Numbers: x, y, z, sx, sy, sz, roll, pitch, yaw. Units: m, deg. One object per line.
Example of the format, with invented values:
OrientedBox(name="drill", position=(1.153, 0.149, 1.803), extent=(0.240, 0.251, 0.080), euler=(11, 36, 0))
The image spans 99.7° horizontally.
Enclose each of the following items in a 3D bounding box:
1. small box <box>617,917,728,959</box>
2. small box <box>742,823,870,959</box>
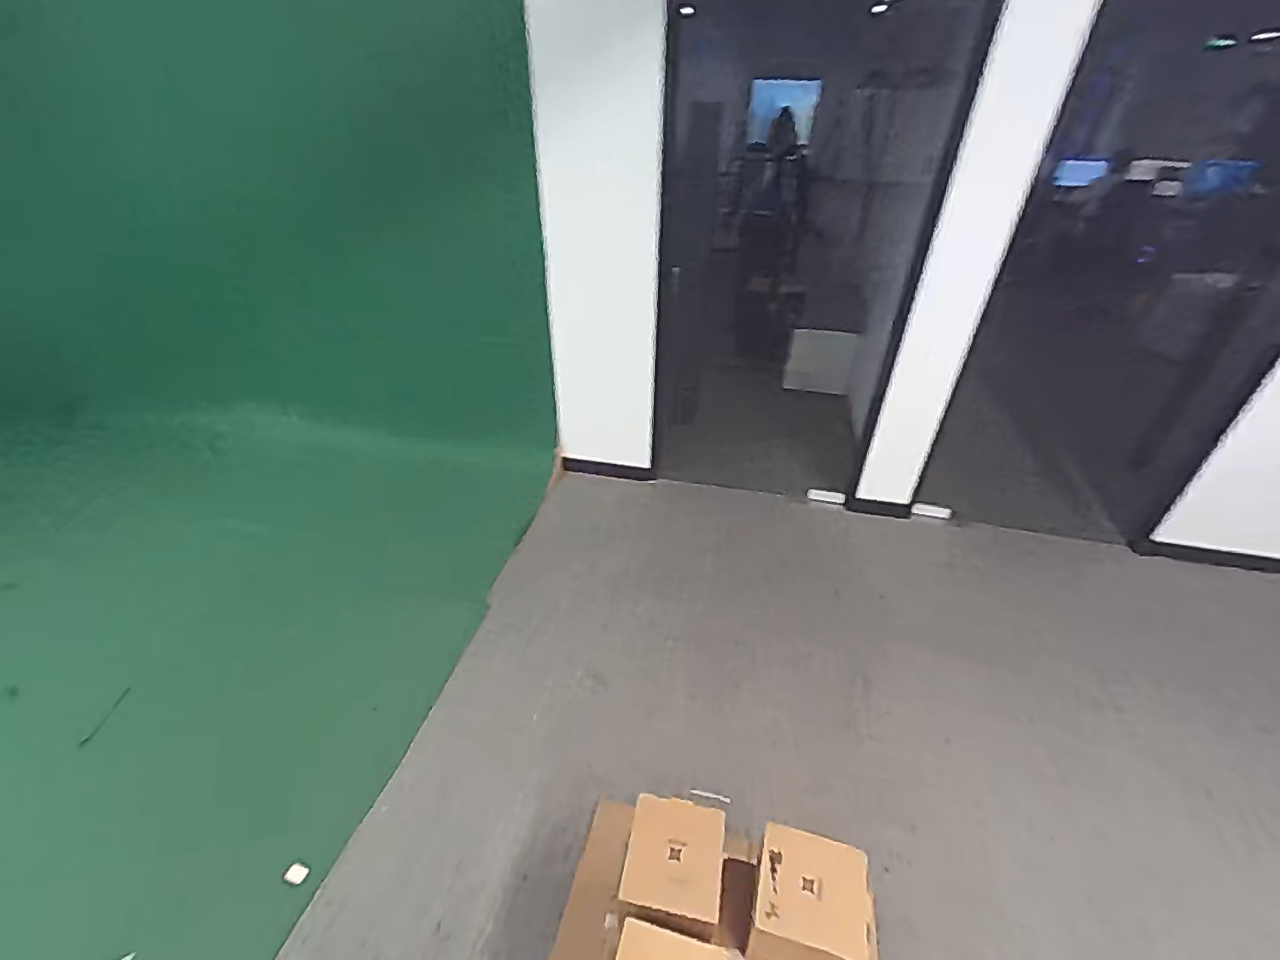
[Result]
OrientedBox(name="small box", position=(0.031, 0.819, 0.820), extent=(0.168, 0.176, 0.179), euler=(10, 38, 12))
OrientedBox(name="small box", position=(0.285, 0.743, 0.935), extent=(0.179, 0.176, 0.168), euler=(11, 36, 15))
